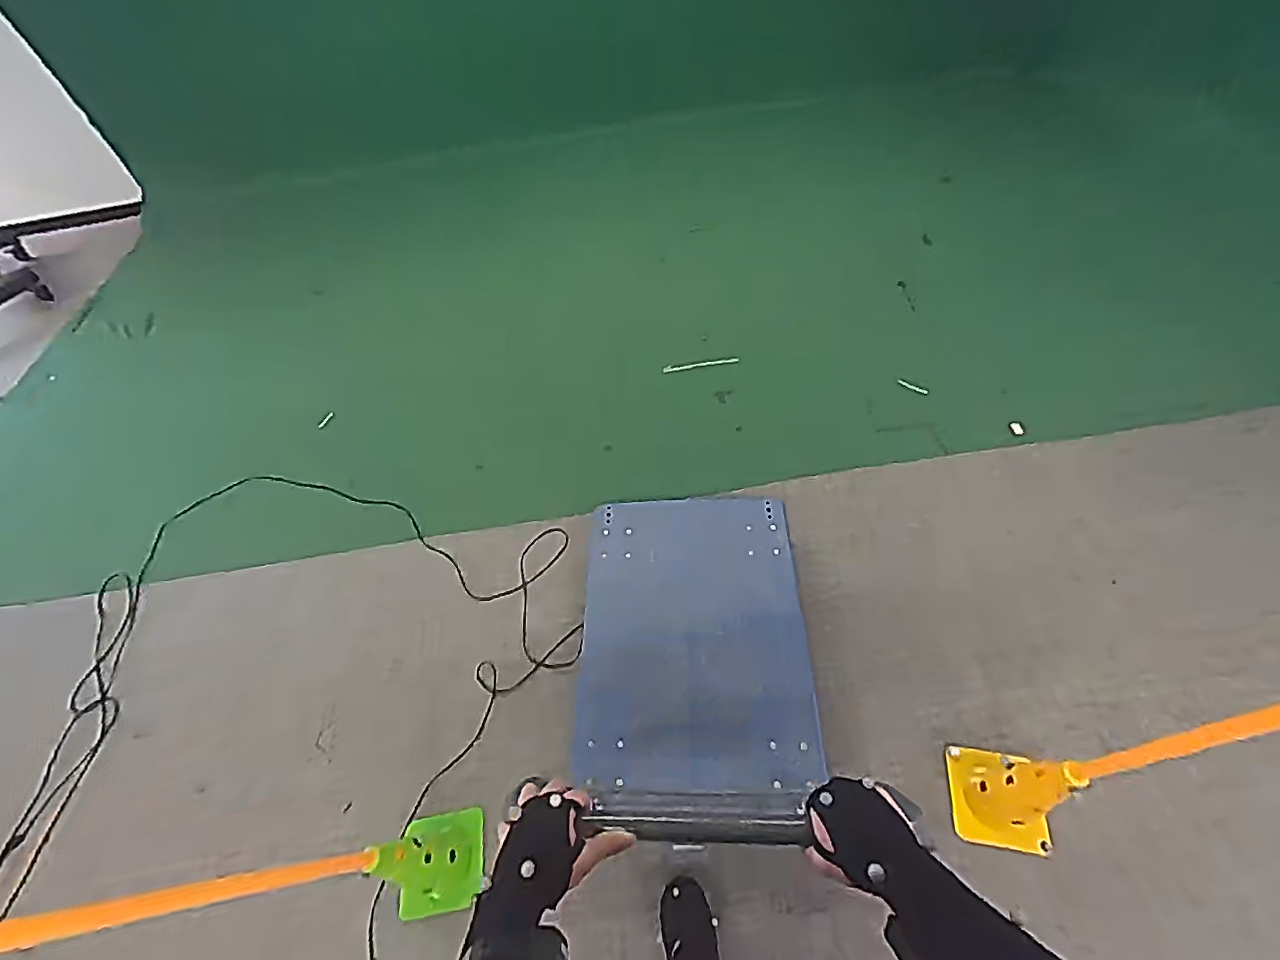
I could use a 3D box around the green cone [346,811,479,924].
[{"bbox_3d":[-0.507,0.821,1.160,0.202,0.368,0.200,-13,53,0],"label":"green cone"}]
